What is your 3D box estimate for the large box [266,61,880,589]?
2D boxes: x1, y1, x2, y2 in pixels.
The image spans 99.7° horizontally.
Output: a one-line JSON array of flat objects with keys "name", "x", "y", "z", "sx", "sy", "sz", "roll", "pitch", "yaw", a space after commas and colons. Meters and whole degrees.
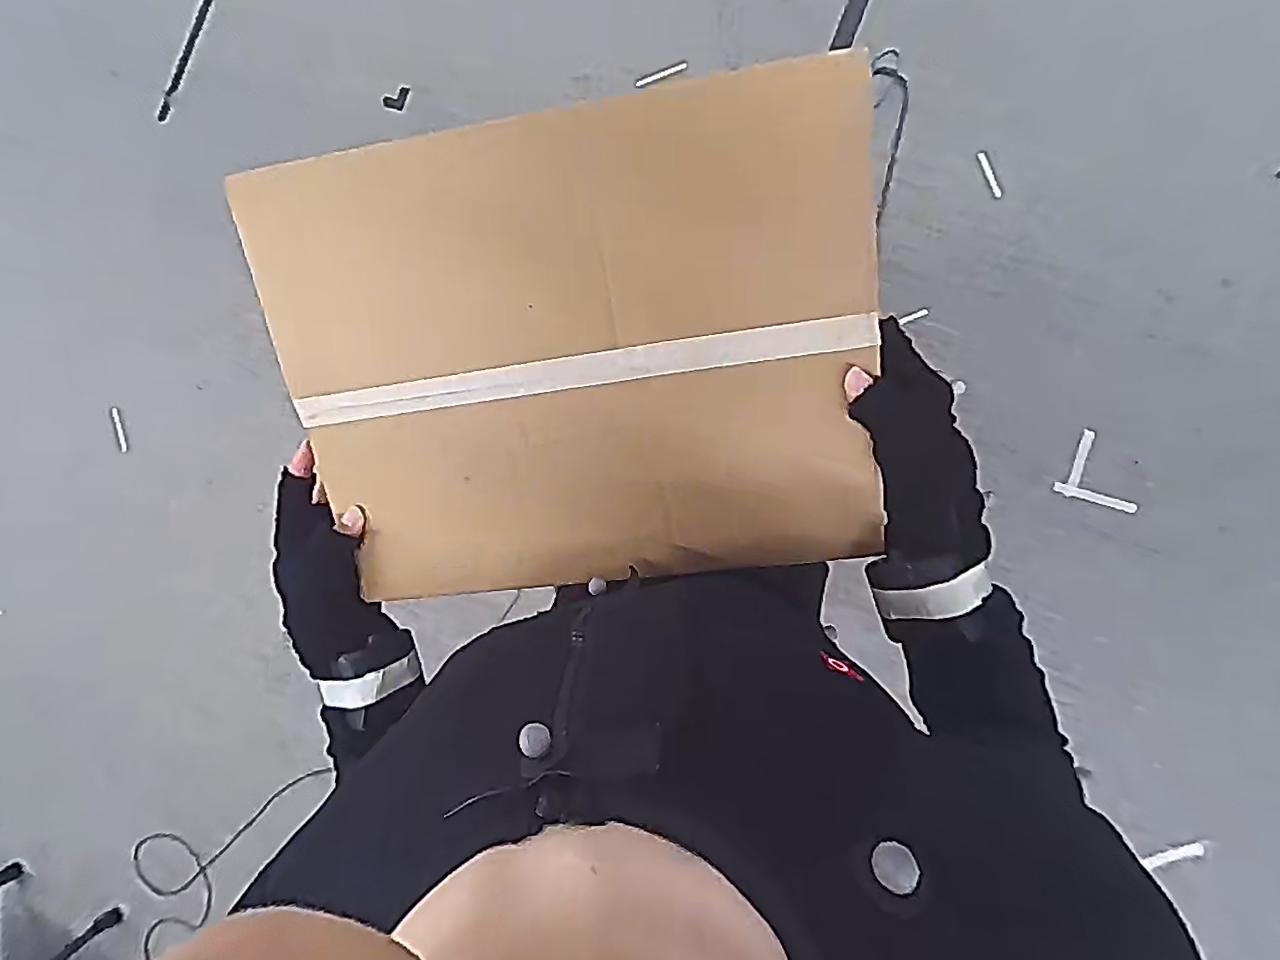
[{"name": "large box", "x": -0.028, "y": -0.119, "z": 0.523, "sx": 0.408, "sy": 0.320, "sz": 0.320, "roll": -6, "pitch": 107, "yaw": 7}]
